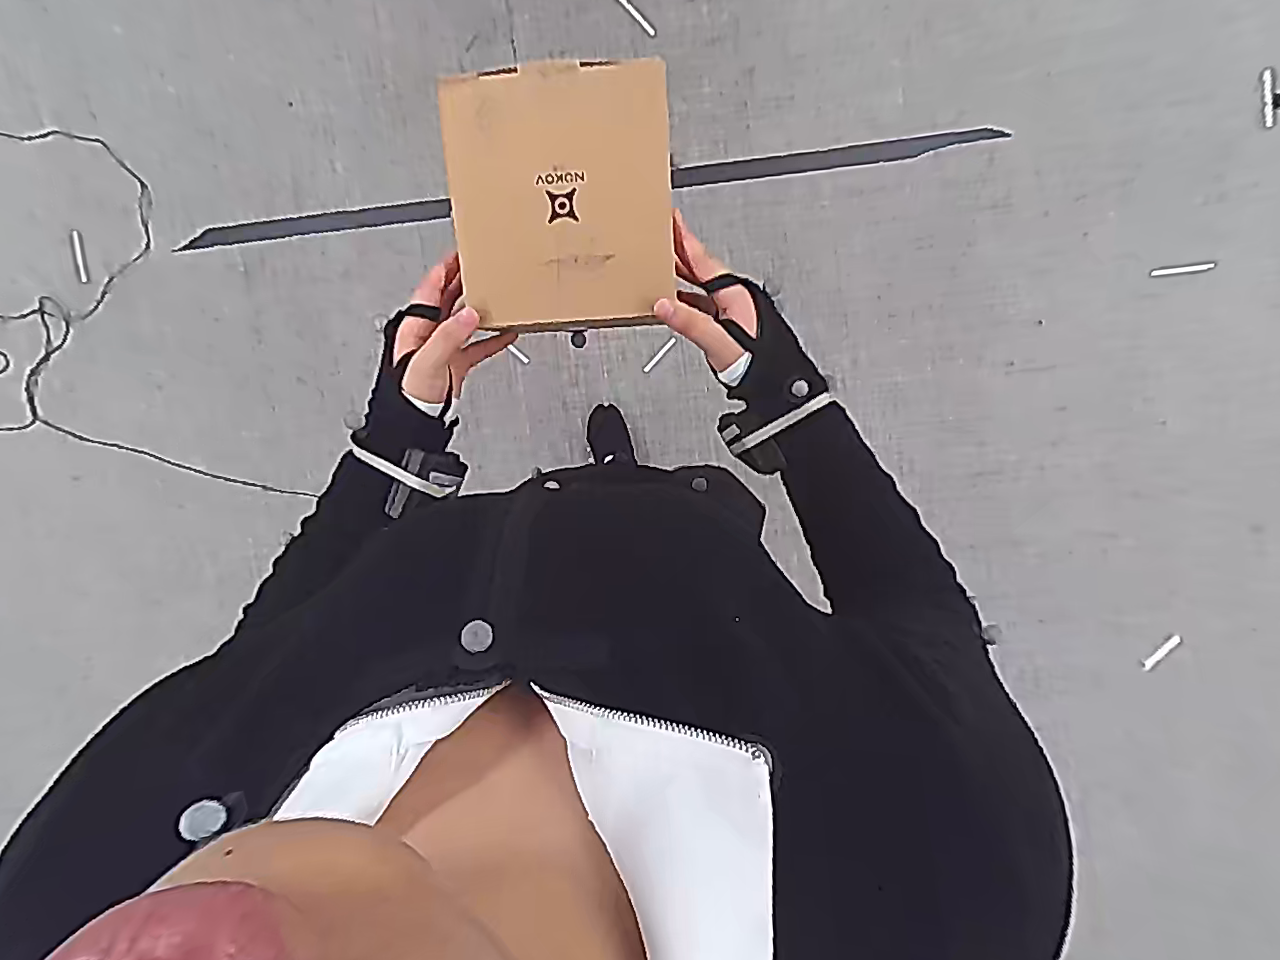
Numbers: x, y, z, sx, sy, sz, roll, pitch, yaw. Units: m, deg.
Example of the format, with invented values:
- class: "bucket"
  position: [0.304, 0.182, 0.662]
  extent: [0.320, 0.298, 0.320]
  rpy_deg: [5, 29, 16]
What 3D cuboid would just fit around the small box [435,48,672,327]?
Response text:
- class: "small box"
  position: [-0.060, -0.233, 0.477]
  extent: [0.168, 0.176, 0.179]
  rpy_deg: [-3, 104, 2]
